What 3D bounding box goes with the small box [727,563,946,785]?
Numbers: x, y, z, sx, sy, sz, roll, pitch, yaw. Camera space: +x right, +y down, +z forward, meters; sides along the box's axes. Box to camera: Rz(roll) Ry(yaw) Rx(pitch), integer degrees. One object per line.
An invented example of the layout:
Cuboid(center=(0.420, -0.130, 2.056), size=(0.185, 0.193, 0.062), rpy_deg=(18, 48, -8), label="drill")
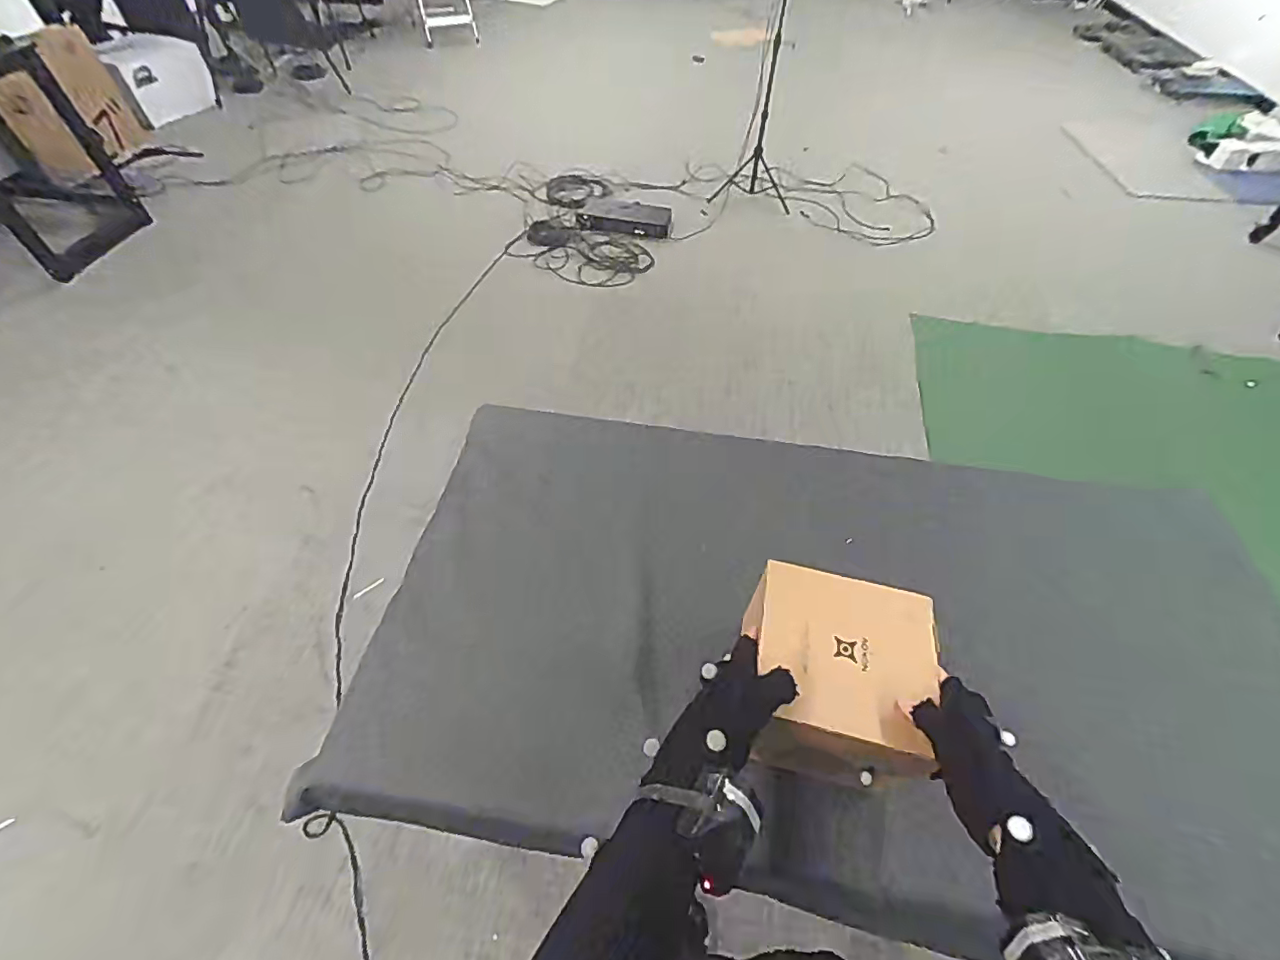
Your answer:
Cuboid(center=(0.204, 0.220, 0.599), size=(0.179, 0.176, 0.168), rpy_deg=(11, 51, 7), label="small box")
